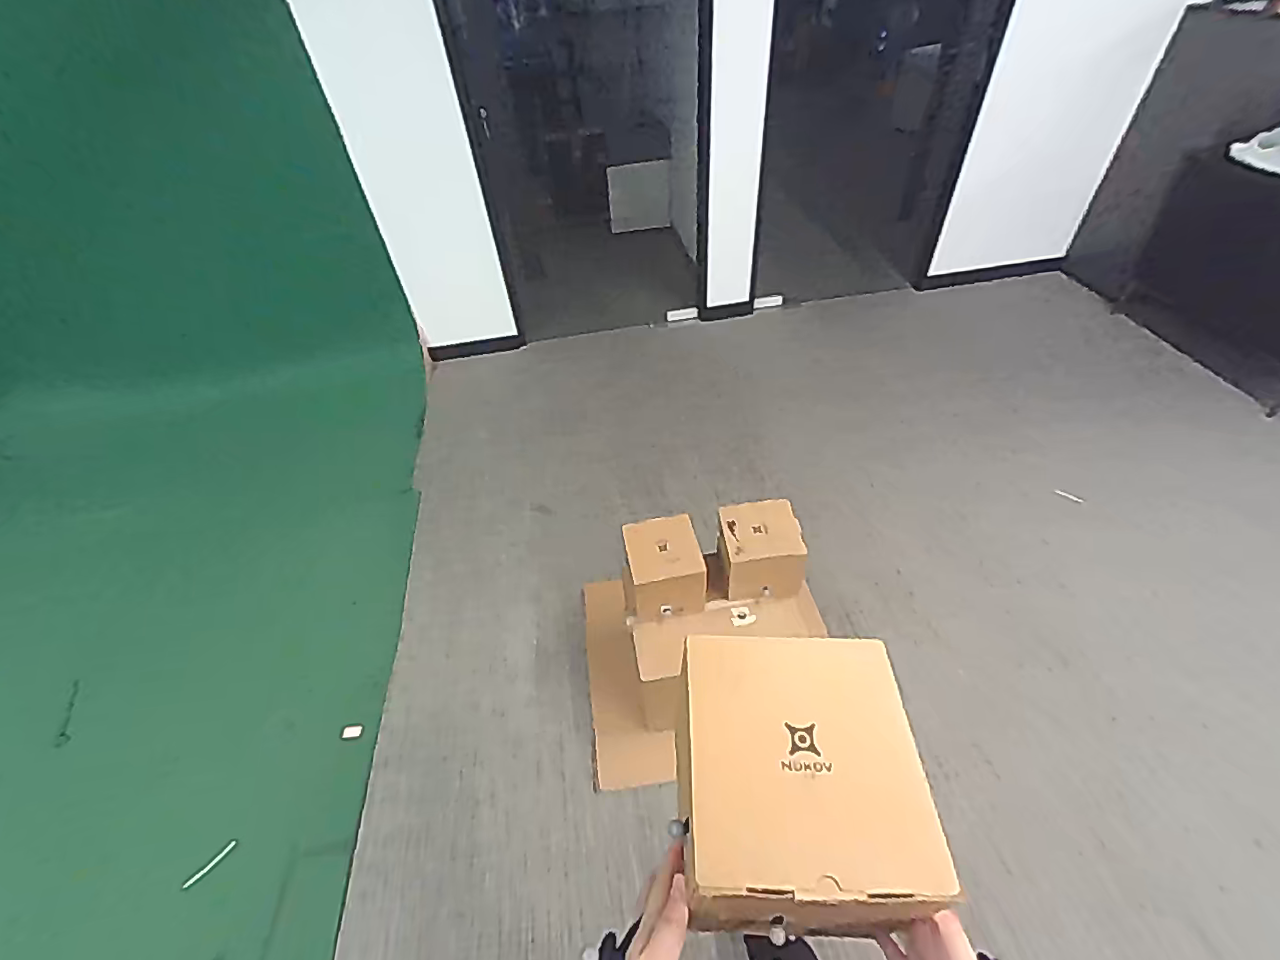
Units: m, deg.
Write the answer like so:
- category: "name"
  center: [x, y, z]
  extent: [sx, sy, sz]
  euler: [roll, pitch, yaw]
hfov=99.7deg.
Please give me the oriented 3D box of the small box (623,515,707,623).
- category: "small box"
  center: [0.055, 0.213, 1.290]
  extent: [0.168, 0.176, 0.179]
  euler: [-11, 45, -5]

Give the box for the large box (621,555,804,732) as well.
- category: "large box"
  center: [0.176, 0.417, 1.420]
  extent: [0.408, 0.320, 0.320]
  euler: [-8, 46, -5]

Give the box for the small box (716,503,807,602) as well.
- category: "small box"
  center: [0.284, 0.176, 1.303]
  extent: [0.179, 0.176, 0.168]
  euler: [-6, 45, 0]

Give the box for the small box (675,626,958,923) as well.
- category: "small box"
  center: [0.117, 0.244, 0.452]
  extent: [0.168, 0.176, 0.179]
  euler: [1, 45, 0]
